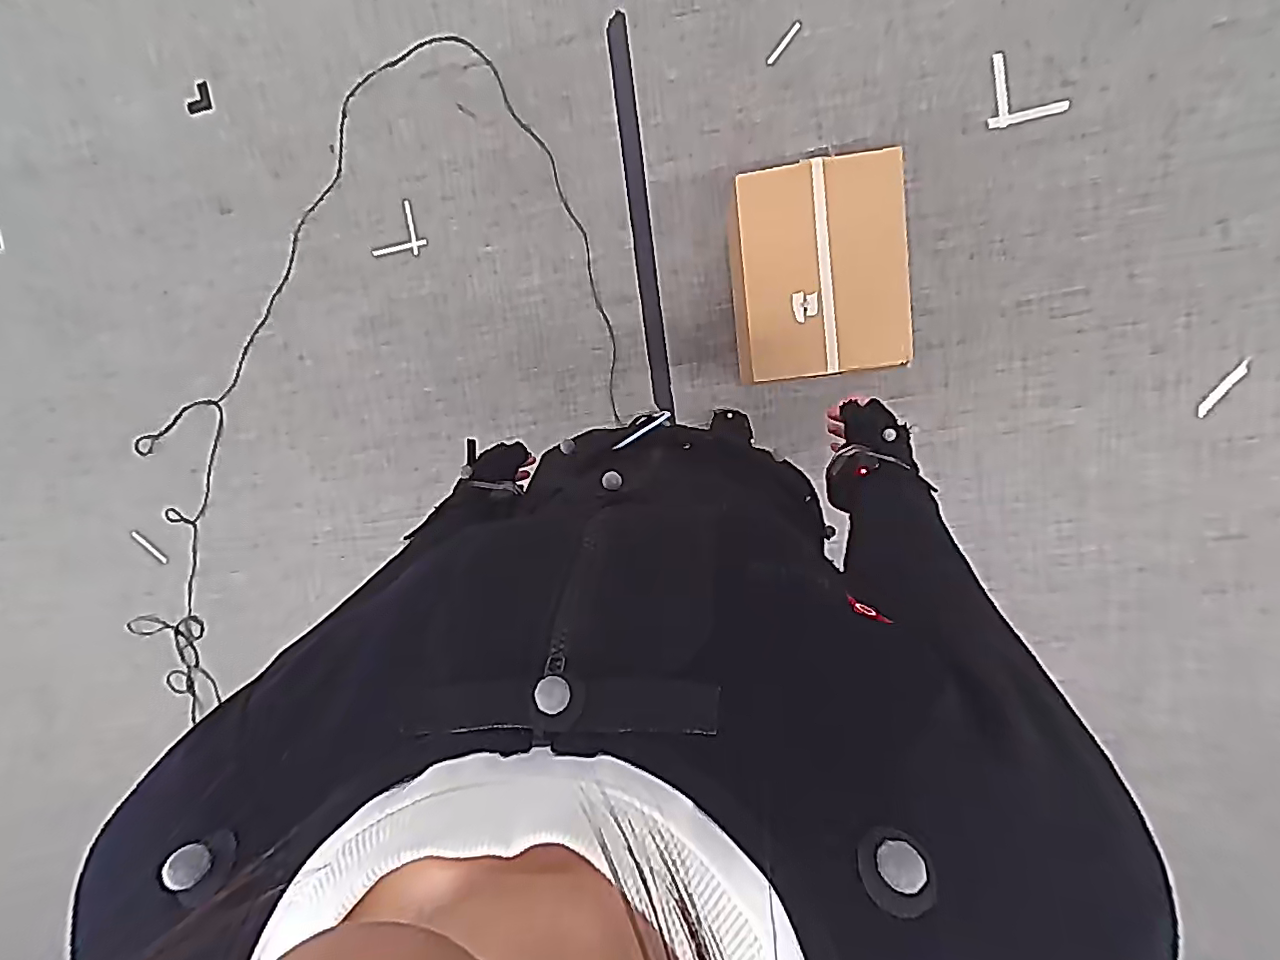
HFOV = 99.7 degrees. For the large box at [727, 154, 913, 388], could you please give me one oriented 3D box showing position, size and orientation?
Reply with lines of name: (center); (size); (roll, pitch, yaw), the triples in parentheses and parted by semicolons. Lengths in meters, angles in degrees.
large box: (0.379, -0.429, 1.211); (0.320, 0.320, 0.408); (-6, 98, 8)
